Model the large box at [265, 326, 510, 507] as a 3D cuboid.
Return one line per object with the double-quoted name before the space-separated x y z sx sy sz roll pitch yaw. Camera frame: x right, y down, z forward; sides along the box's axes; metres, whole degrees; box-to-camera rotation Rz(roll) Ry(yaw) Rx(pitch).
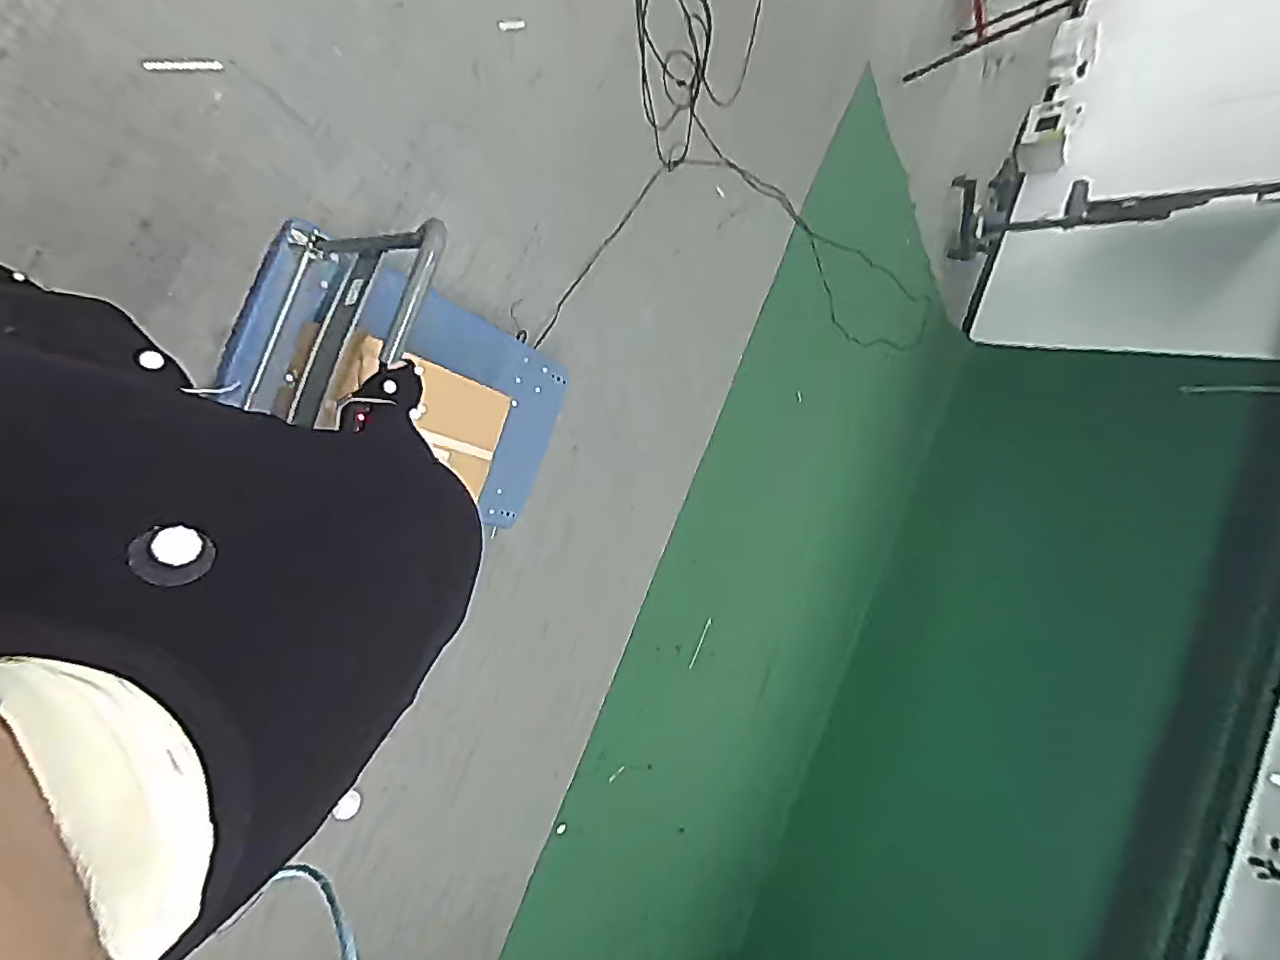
"large box" -0.603 -0.149 1.309 0.408 0.320 0.320 20 89 -49
